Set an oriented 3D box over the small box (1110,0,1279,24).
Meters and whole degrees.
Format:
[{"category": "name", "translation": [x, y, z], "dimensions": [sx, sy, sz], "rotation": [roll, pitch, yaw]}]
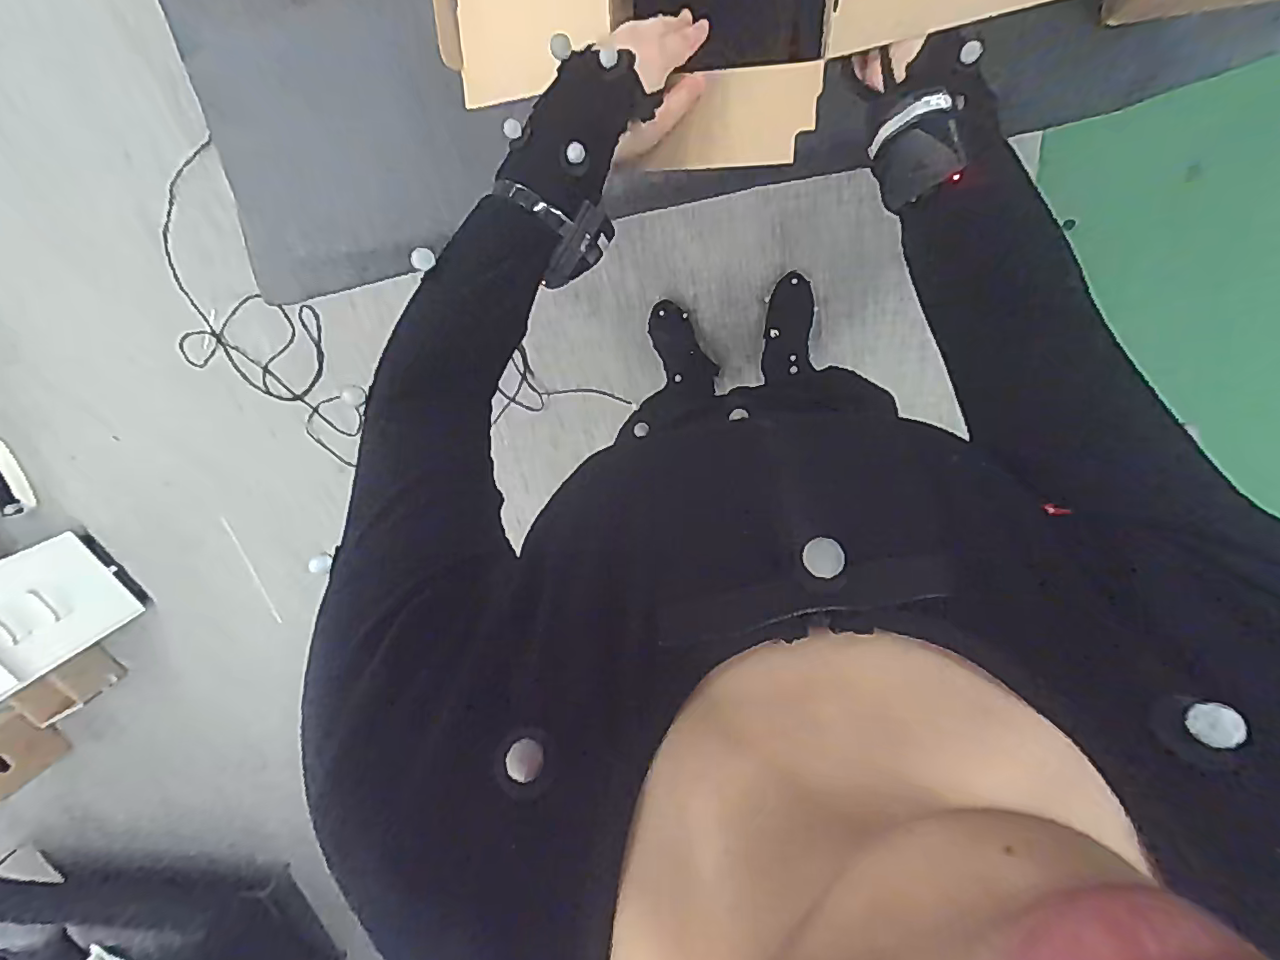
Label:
[{"category": "small box", "translation": [0.485, -0.460, 0.377], "dimensions": [0.179, 0.176, 0.168], "rotation": [0, 111, 12]}]
